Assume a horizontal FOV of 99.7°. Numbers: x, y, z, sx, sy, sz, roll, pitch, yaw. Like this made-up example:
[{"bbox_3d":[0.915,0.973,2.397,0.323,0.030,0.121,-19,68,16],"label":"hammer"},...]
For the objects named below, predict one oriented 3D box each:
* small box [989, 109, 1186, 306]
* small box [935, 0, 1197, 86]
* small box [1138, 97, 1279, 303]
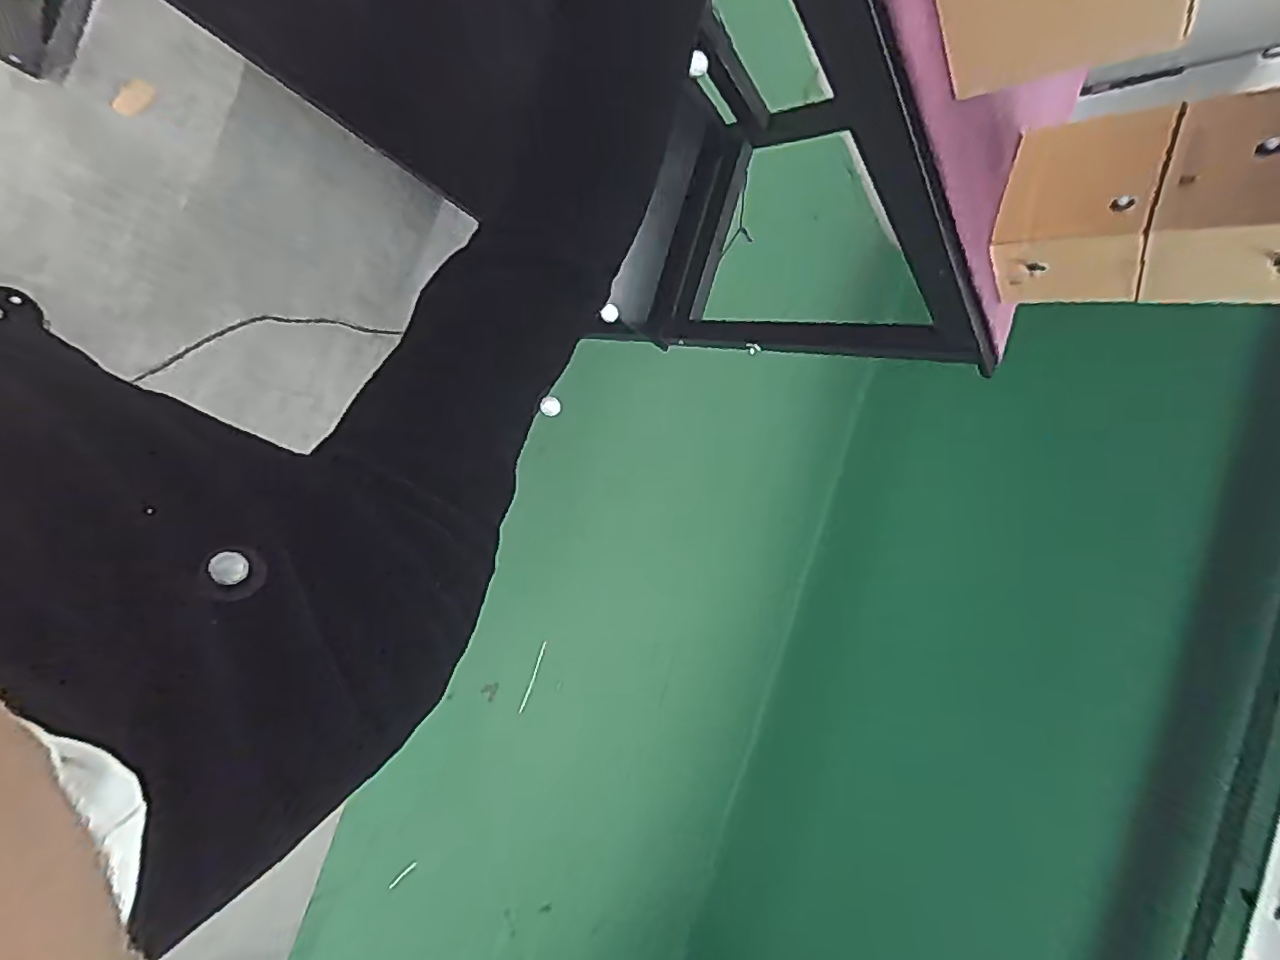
[{"bbox_3d":[0.607,-0.361,0.751,0.168,0.176,0.179,22,87,-49],"label":"small box"},{"bbox_3d":[0.343,-0.453,0.423,0.179,0.176,0.168,23,84,-48],"label":"small box"},{"bbox_3d":[0.721,-0.320,0.638,0.179,0.176,0.168,22,87,-49],"label":"small box"}]
